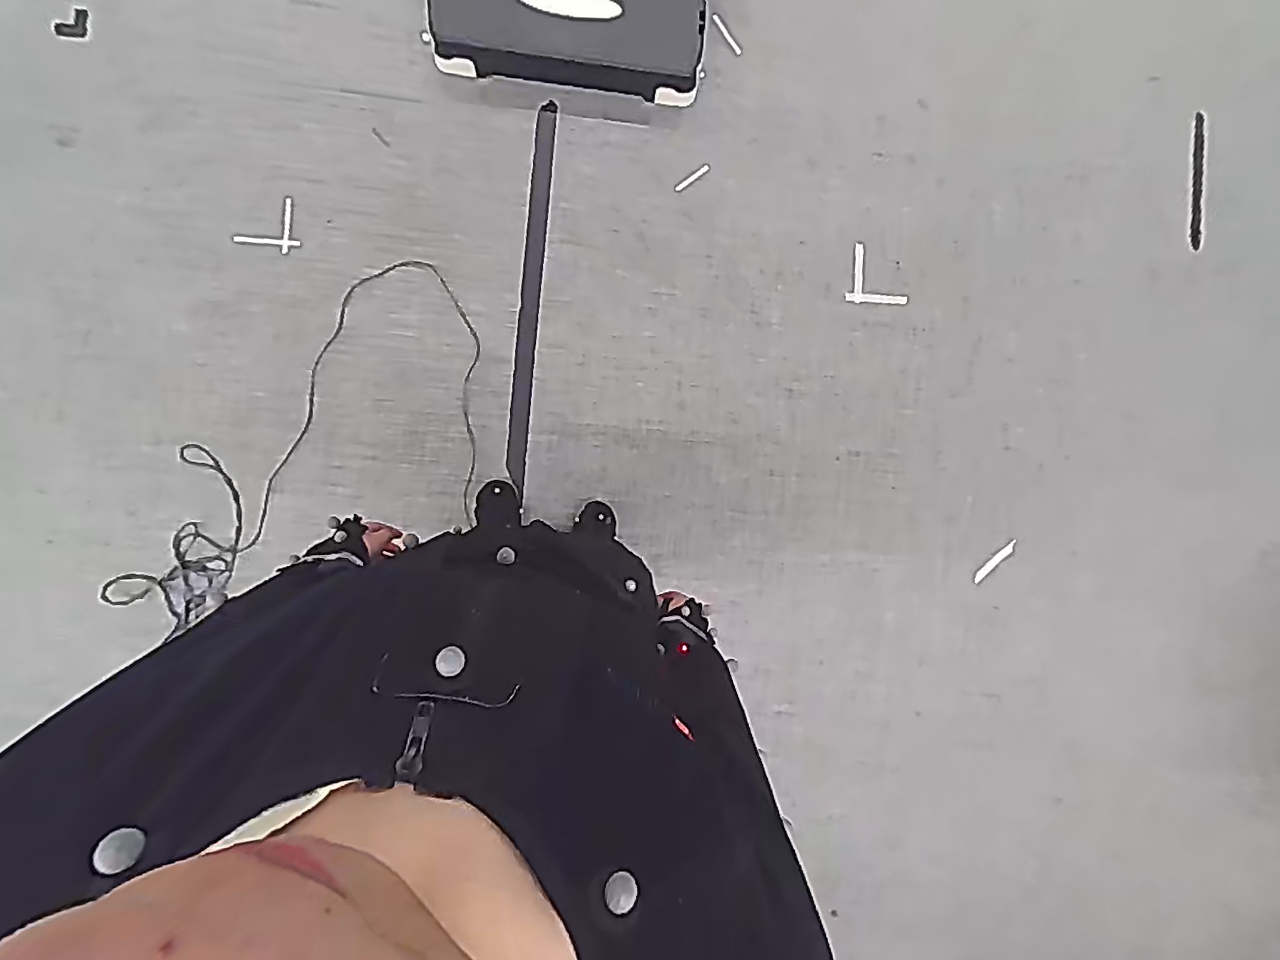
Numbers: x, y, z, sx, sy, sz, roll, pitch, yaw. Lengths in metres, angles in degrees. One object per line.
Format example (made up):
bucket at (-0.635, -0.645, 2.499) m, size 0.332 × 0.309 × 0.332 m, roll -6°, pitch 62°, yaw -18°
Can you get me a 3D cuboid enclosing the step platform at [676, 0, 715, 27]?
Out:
step platform at (-0.115, -1.395, 1.336) m, size 0.684 × 0.204 × 0.286 m, roll 9°, pitch 88°, yaw -5°
